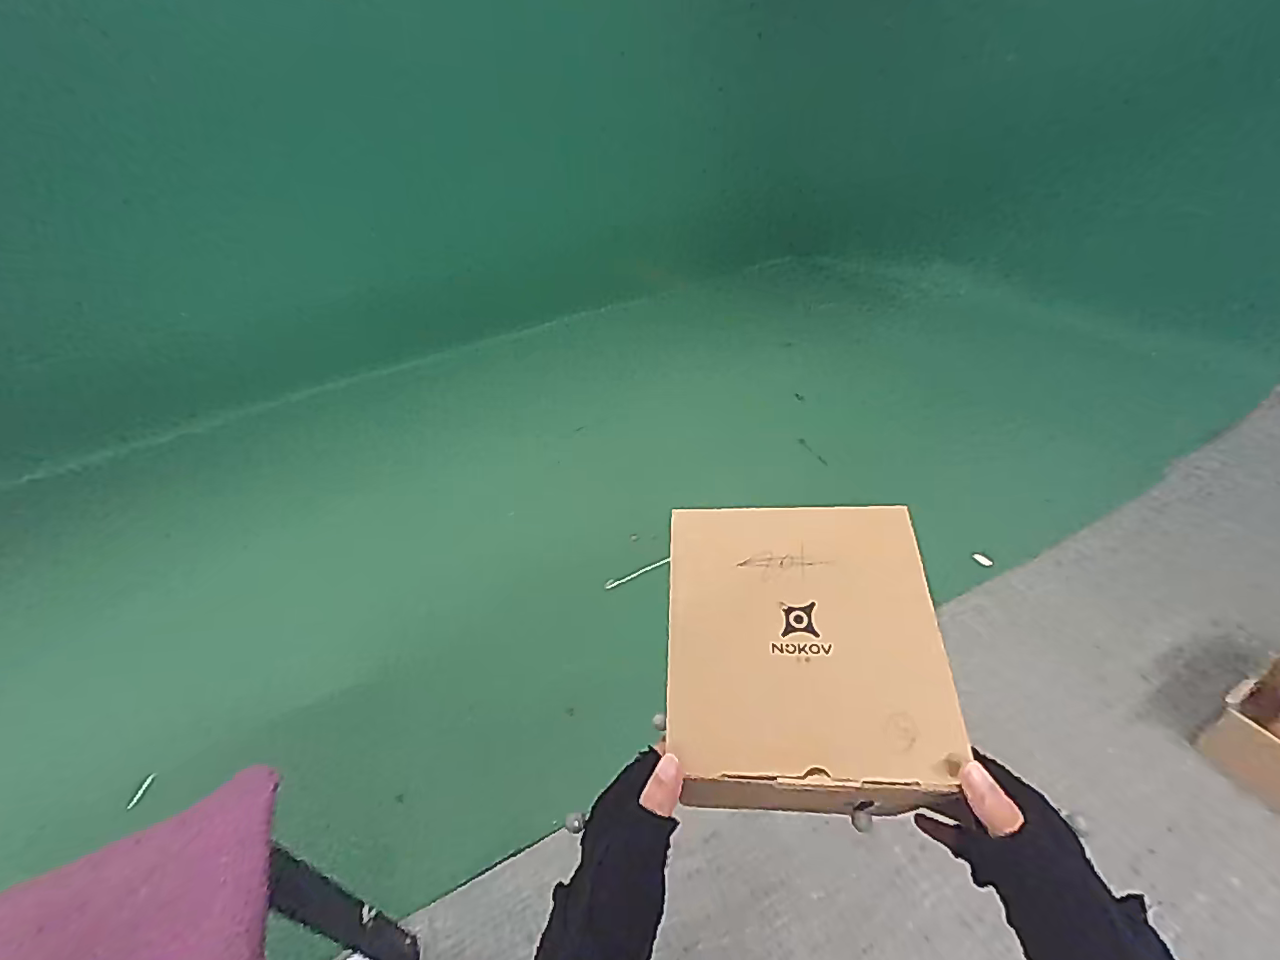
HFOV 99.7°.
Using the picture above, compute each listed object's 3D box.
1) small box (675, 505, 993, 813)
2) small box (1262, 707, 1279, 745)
[{"bbox_3d":[0.117,0.135,0.397,0.168,0.176,0.179,0,55,8],"label":"small box"},{"bbox_3d":[1.585,0.550,1.215,0.179,0.176,0.168,-22,41,-17],"label":"small box"}]
